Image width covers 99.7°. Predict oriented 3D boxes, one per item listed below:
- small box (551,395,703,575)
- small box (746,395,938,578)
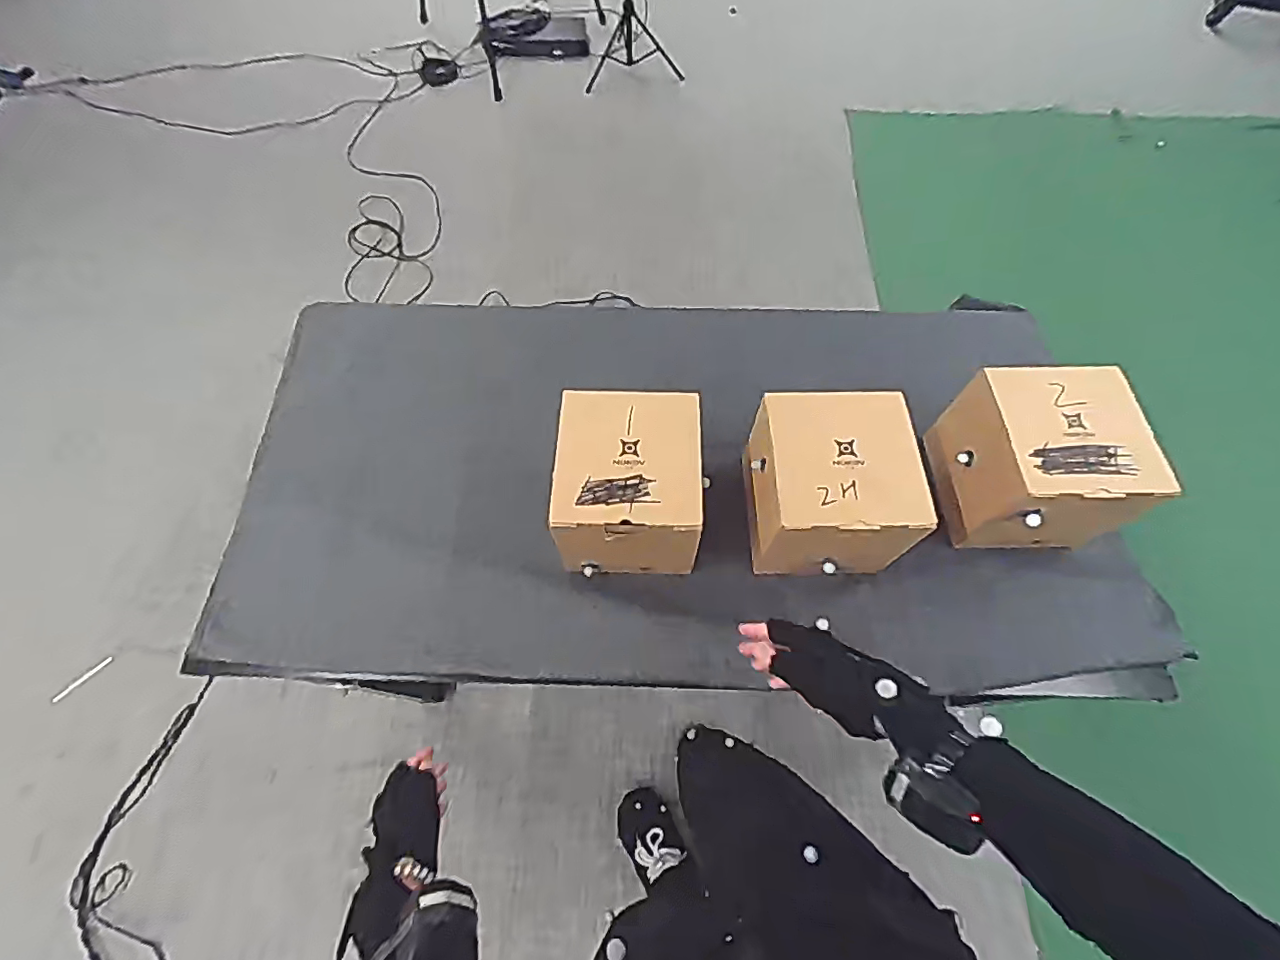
[{"bbox_3d":[-0.010,0.013,0.679,0.168,0.176,0.179,2,63,0],"label":"small box"},{"bbox_3d":[0.232,0.013,0.676,0.168,0.176,0.179,0,63,0],"label":"small box"}]
